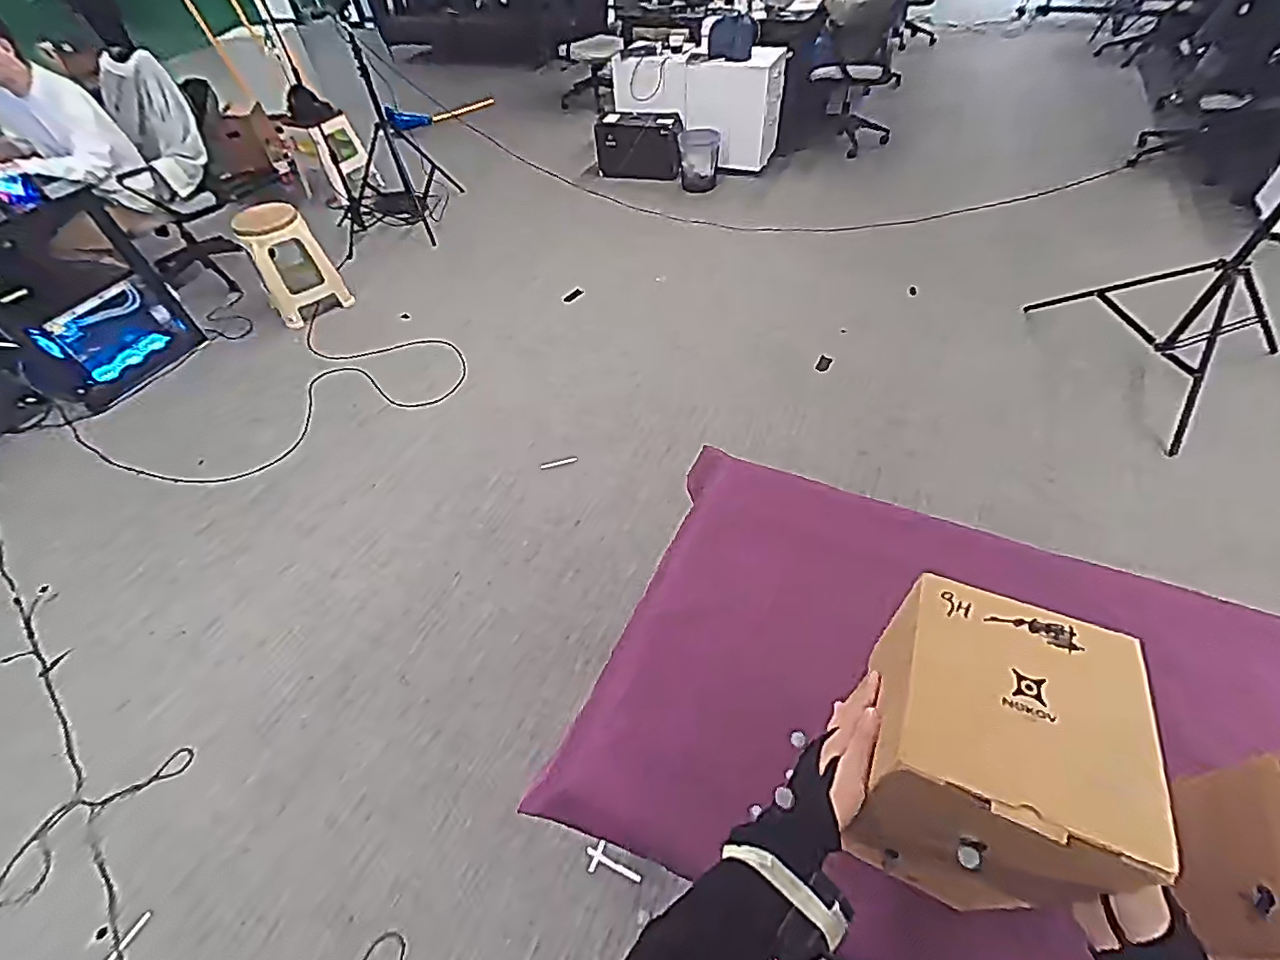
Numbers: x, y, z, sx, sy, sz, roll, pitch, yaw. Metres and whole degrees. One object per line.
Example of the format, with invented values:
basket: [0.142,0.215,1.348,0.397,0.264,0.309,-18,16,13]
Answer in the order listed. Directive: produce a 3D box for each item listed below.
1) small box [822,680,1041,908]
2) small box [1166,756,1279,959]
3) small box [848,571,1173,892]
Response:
small box: [0.312,0.331,0.594,0.168,0.176,0.179,19,53,19]
small box: [0.649,0.403,0.509,0.168,0.176,0.179,21,54,20]
small box: [0.292,0.216,0.464,0.168,0.176,0.179,18,52,17]
